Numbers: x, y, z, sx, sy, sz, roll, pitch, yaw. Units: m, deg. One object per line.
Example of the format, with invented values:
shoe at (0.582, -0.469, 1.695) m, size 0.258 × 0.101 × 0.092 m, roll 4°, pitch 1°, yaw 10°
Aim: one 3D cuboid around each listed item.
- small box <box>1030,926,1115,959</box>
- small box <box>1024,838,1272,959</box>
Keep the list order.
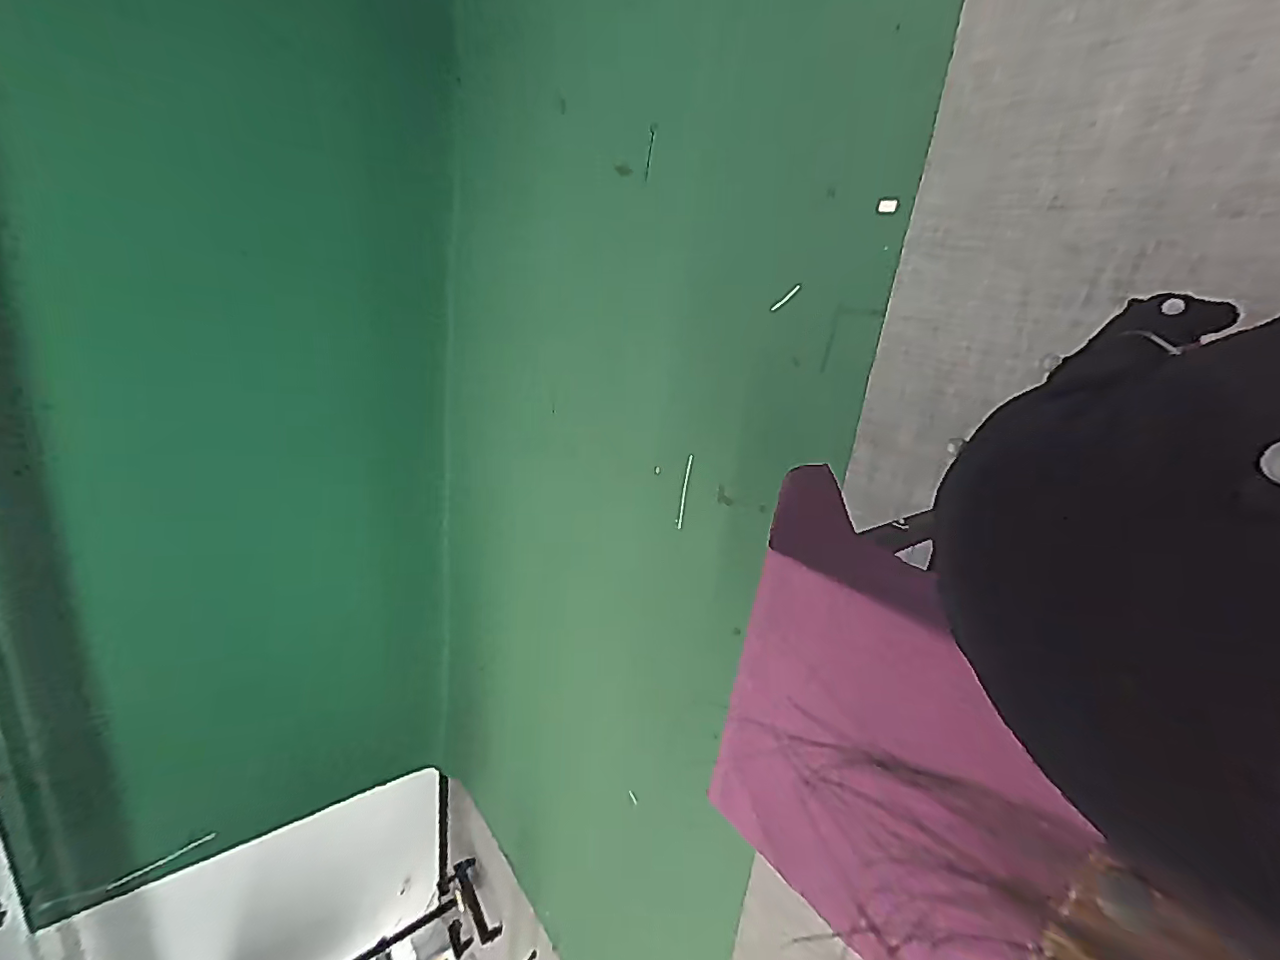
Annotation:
small box at (0.401, 0.559, 0.469) m, size 0.168 × 0.176 × 0.179 m, roll 28°, pitch 117°, yaw 44°
small box at (0.527, 0.534, 0.571) m, size 0.168 × 0.176 × 0.179 m, roll 29°, pitch 118°, yaw 45°
